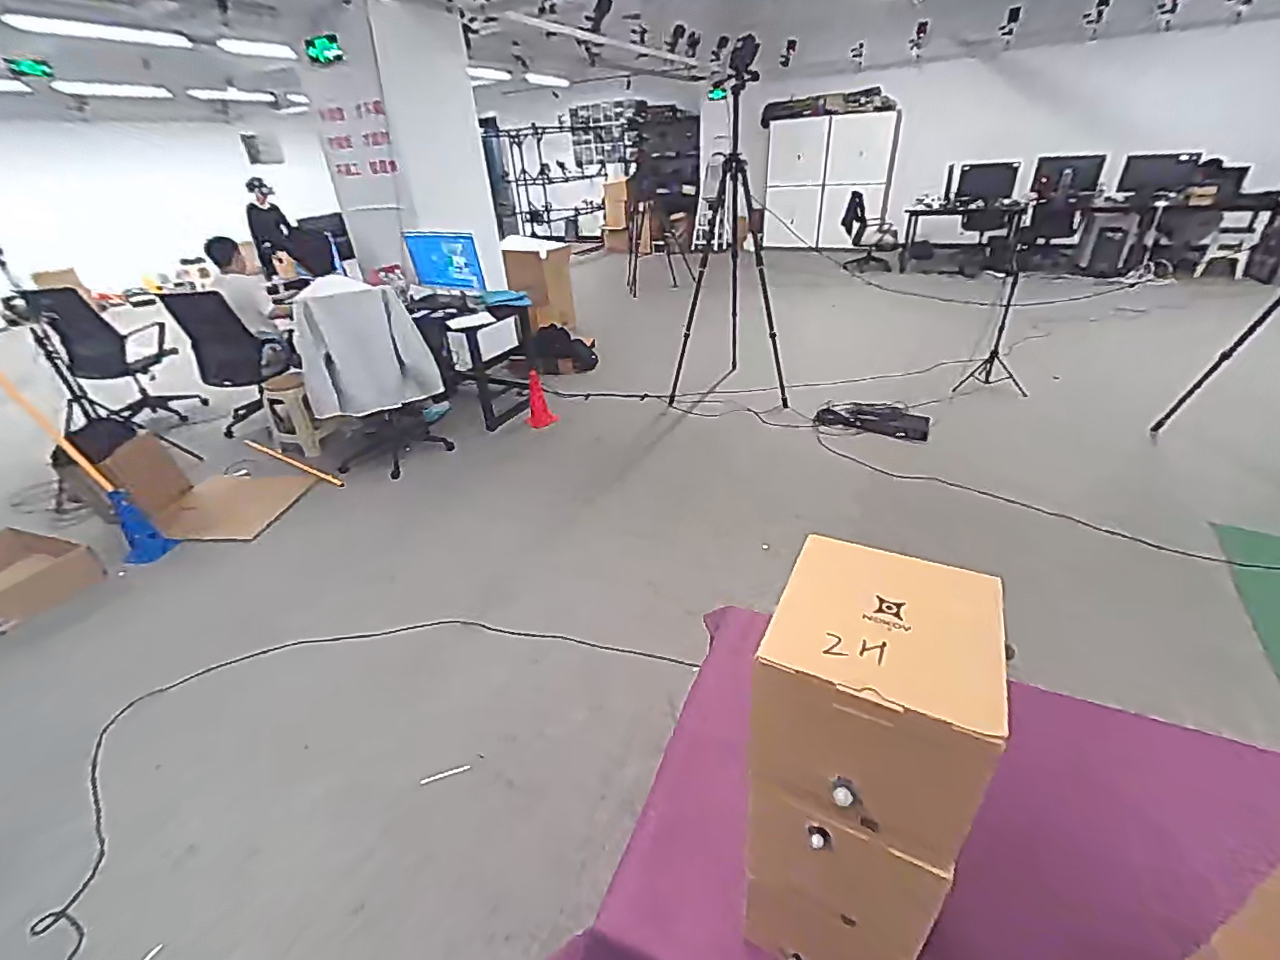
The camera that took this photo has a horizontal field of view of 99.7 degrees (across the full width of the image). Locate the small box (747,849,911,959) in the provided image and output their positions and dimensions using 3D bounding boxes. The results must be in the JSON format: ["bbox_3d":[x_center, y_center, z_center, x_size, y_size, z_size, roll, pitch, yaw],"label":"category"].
[{"bbox_3d":[0.231,0.464,0.645,0.168,0.176,0.179,13,36,28],"label":"small box"}]

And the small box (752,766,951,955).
[{"bbox_3d":[0.219,0.322,0.561,0.168,0.176,0.179,12,33,28],"label":"small box"}]

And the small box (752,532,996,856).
[{"bbox_3d":[0.202,0.178,0.484,0.168,0.176,0.179,12,35,26],"label":"small box"}]
